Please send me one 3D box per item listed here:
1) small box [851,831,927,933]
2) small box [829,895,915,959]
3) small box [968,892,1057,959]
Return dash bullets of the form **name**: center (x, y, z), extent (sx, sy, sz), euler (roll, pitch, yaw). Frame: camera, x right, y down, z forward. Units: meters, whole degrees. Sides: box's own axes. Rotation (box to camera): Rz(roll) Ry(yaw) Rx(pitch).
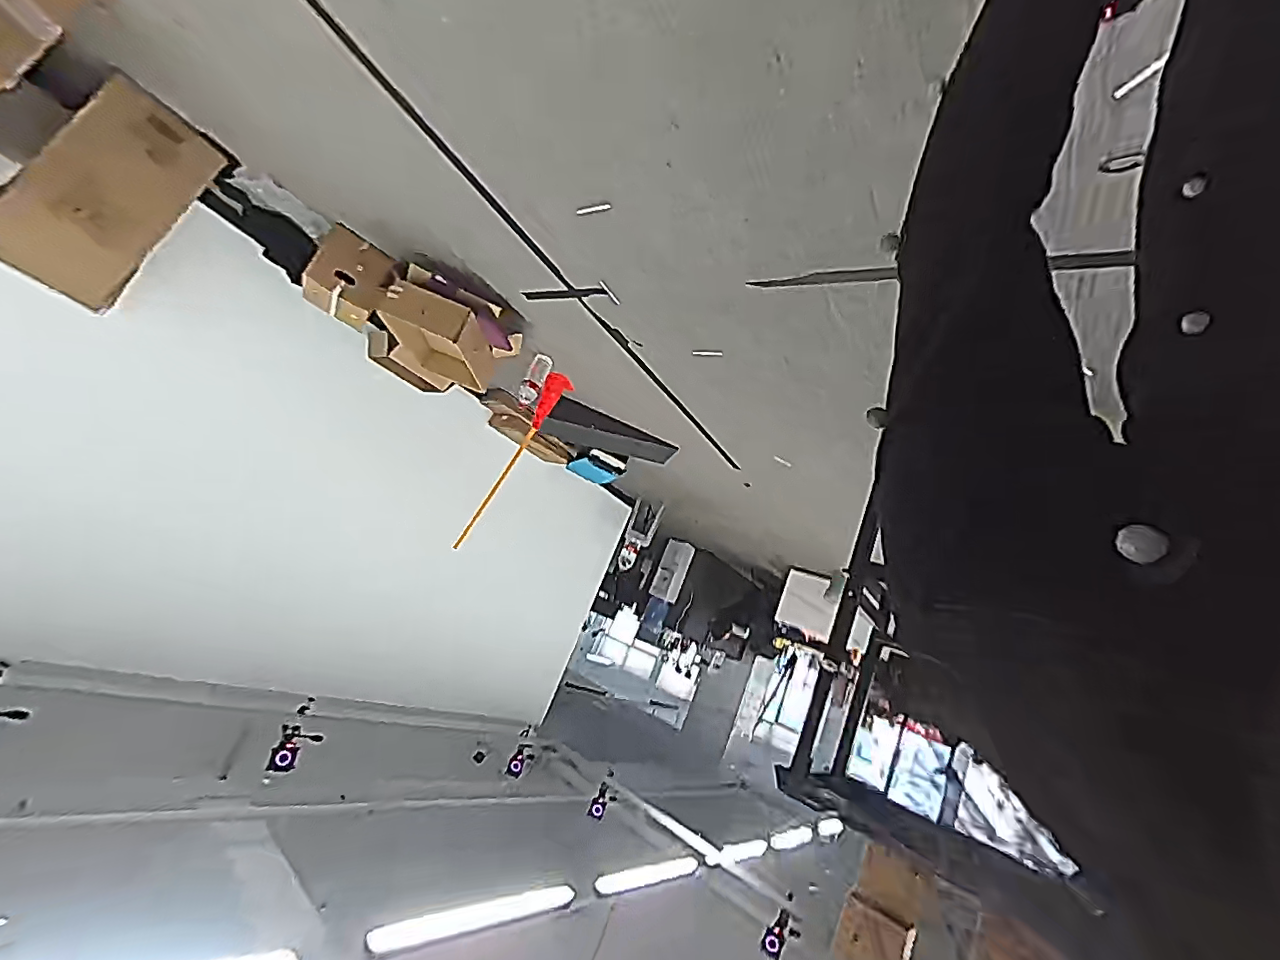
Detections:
- **small box**: center (0.735, 1.169, 1.591), extent (0.168, 0.176, 0.179), euler (13, 165, 34)
- **small box**: center (0.660, 1.303, 1.530), extent (0.168, 0.176, 0.179), euler (12, 164, 40)
- **small box**: center (0.963, 1.217, 1.403), extent (0.168, 0.176, 0.179), euler (12, 165, 37)
